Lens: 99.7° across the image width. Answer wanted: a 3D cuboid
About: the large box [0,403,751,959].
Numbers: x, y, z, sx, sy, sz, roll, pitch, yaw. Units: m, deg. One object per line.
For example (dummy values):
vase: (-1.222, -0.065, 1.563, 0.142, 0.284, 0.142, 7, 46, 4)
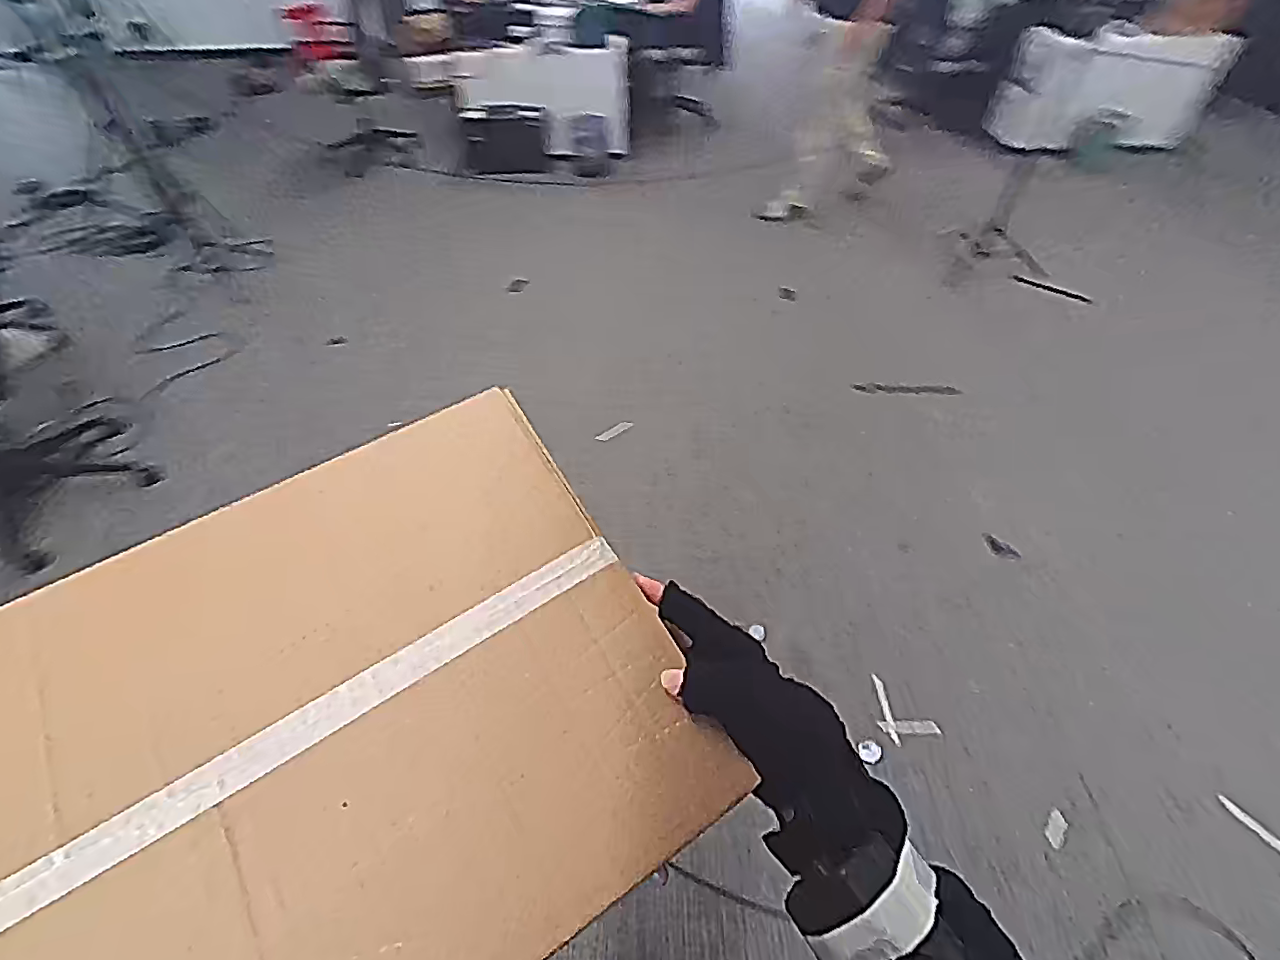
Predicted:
large box: (-0.187, 0.213, 0.429, 0.408, 0.320, 0.320, -28, 67, -16)
